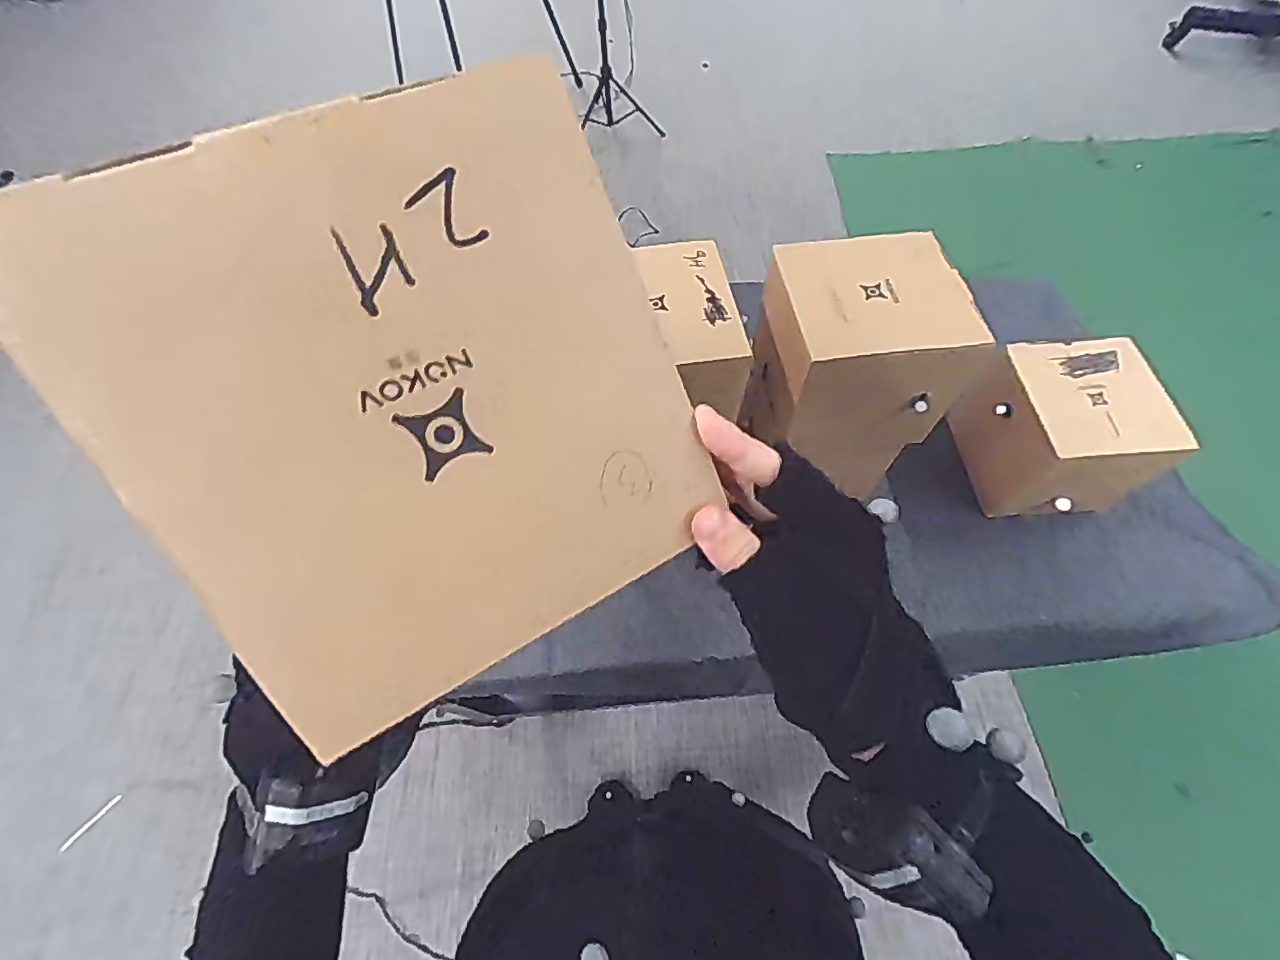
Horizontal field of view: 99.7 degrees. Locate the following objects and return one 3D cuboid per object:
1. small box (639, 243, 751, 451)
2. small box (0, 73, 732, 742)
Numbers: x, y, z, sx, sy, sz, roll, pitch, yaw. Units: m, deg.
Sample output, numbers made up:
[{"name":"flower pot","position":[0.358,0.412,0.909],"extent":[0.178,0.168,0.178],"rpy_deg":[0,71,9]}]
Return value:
[{"name":"small box","position":[0.014,-0.133,0.611],"extent":[0.179,0.176,0.168],"rpy_deg":[-9,62,-2]},{"name":"small box","position":[-0.089,-0.033,0.252],"extent":[0.168,0.176,0.179],"rpy_deg":[-27,106,-16]}]
